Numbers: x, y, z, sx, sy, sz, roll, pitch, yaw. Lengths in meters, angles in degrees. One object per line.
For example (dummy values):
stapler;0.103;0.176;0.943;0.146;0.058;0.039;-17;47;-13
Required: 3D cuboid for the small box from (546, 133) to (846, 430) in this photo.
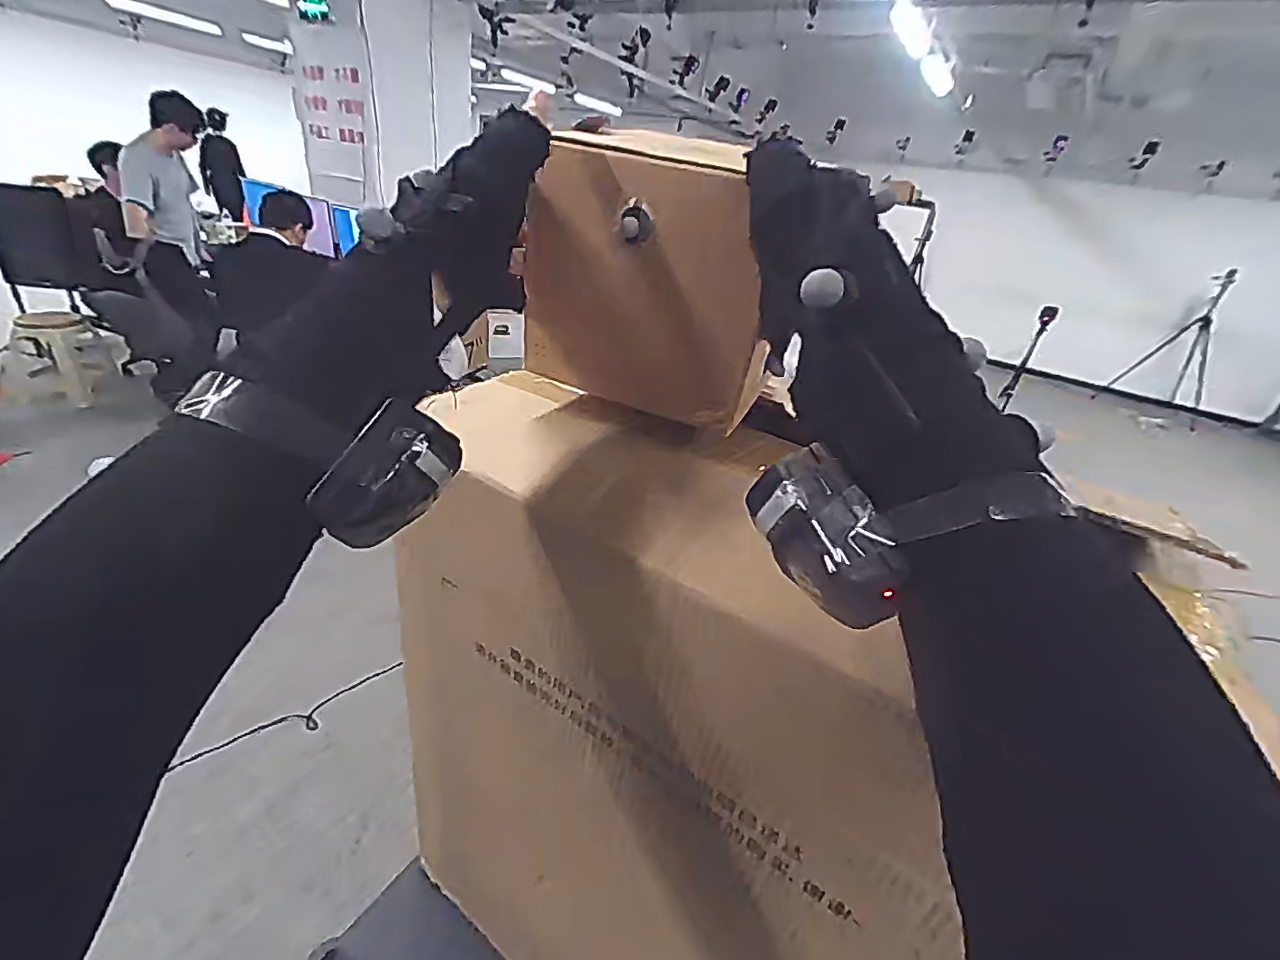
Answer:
small box;0.039;-0.160;0.425;0.179;0.176;0.168;21;38;14
